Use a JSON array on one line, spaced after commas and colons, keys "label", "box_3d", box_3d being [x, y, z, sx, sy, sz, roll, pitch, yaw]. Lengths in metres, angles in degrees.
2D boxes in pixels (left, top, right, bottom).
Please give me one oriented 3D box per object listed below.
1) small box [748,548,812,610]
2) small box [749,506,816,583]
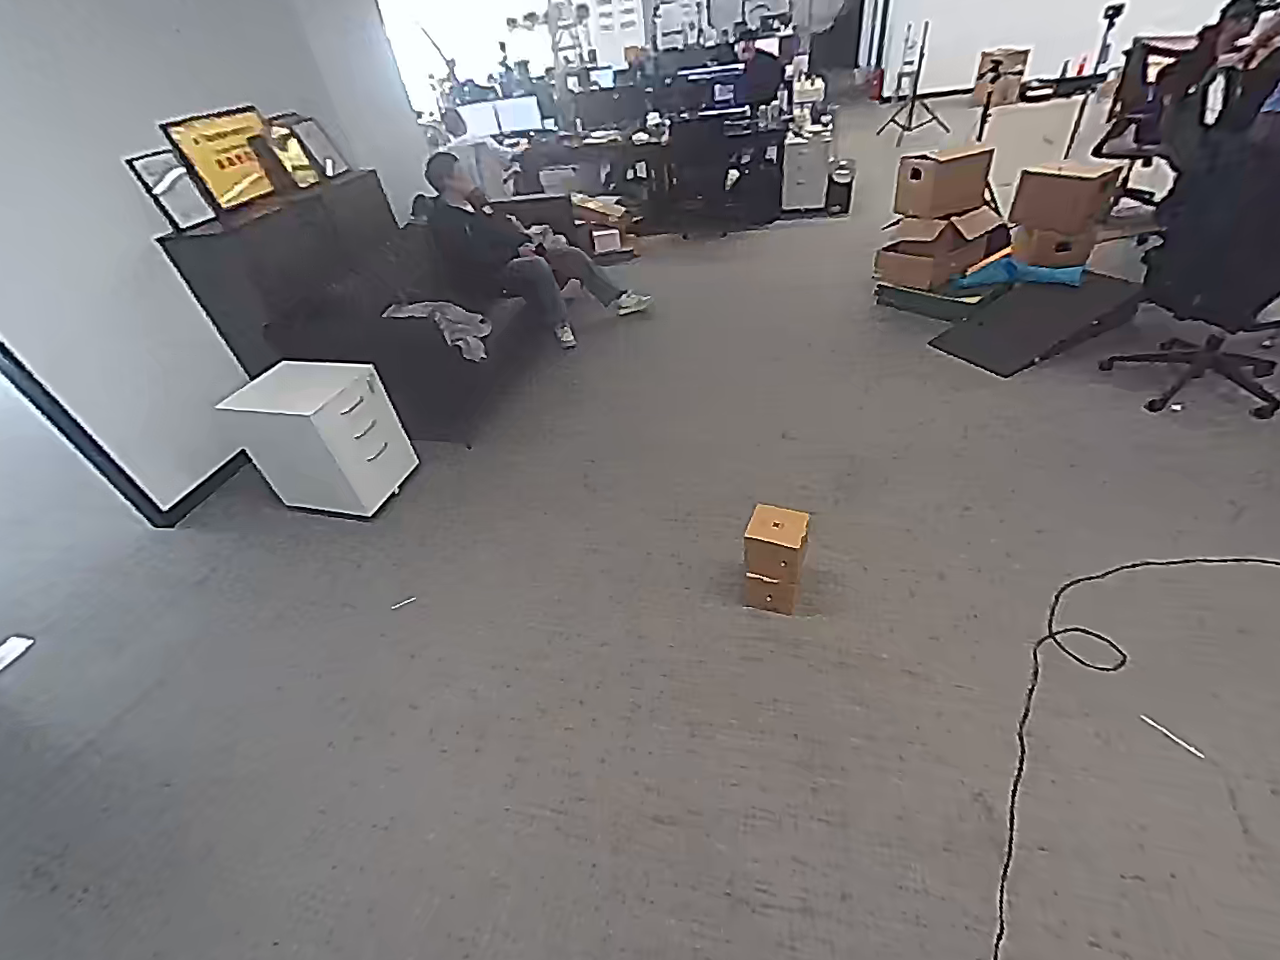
[{"label": "small box", "box_3d": [0.486, 0.327, 1.878, 0.179, 0.176, 0.168, -13, 37, -1]}, {"label": "small box", "box_3d": [0.467, 0.213, 1.775, 0.179, 0.176, 0.168, 11, 42, 26]}]
